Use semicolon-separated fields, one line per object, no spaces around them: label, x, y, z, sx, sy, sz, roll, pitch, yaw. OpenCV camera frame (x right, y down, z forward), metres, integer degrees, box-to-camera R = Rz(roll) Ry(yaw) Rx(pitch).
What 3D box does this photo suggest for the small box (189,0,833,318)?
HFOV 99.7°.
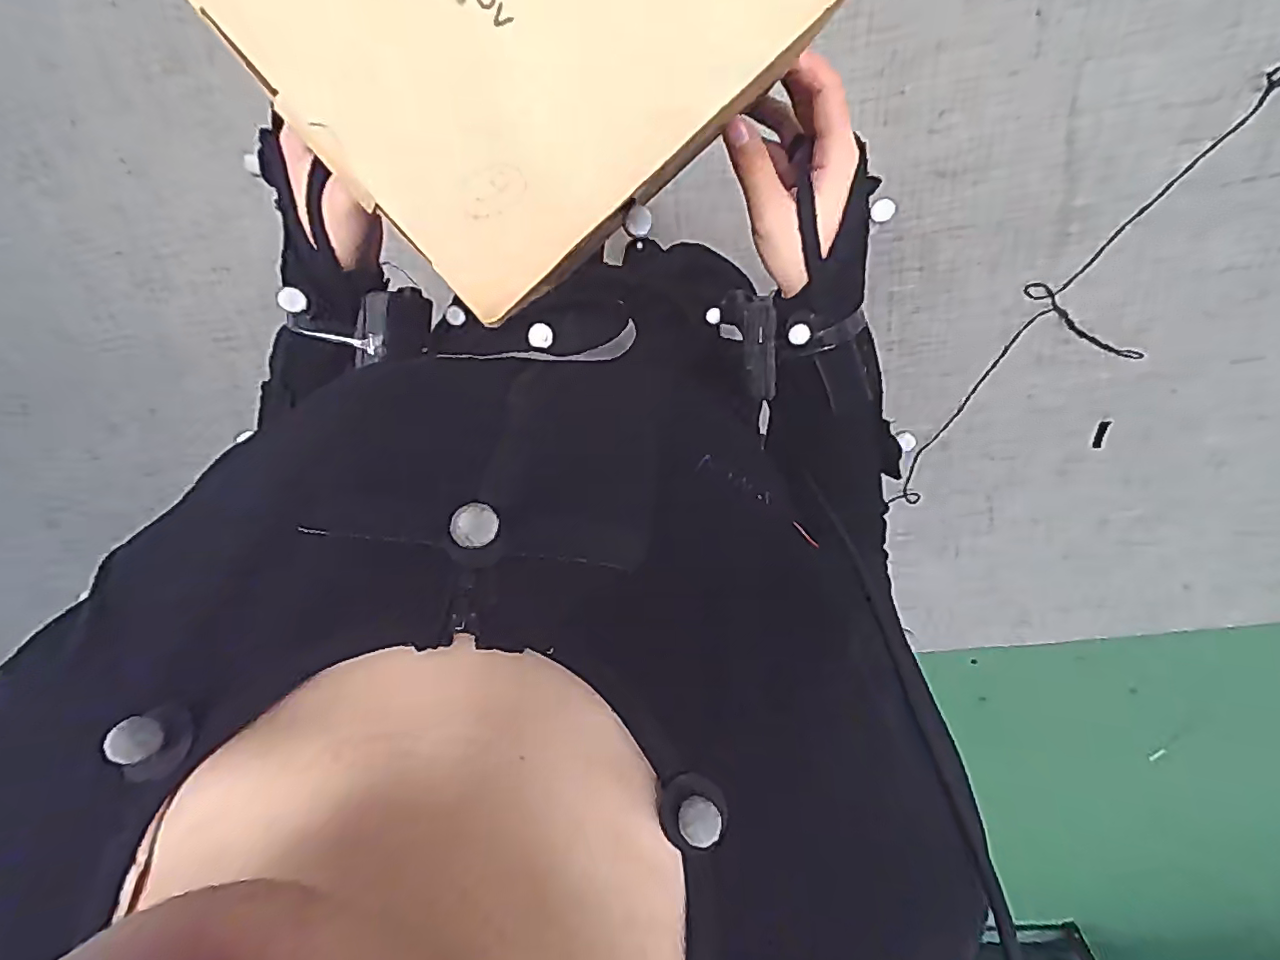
small box;-0.045;-0.203;0.244;0.179;0.176;0.168;-35;109;18
